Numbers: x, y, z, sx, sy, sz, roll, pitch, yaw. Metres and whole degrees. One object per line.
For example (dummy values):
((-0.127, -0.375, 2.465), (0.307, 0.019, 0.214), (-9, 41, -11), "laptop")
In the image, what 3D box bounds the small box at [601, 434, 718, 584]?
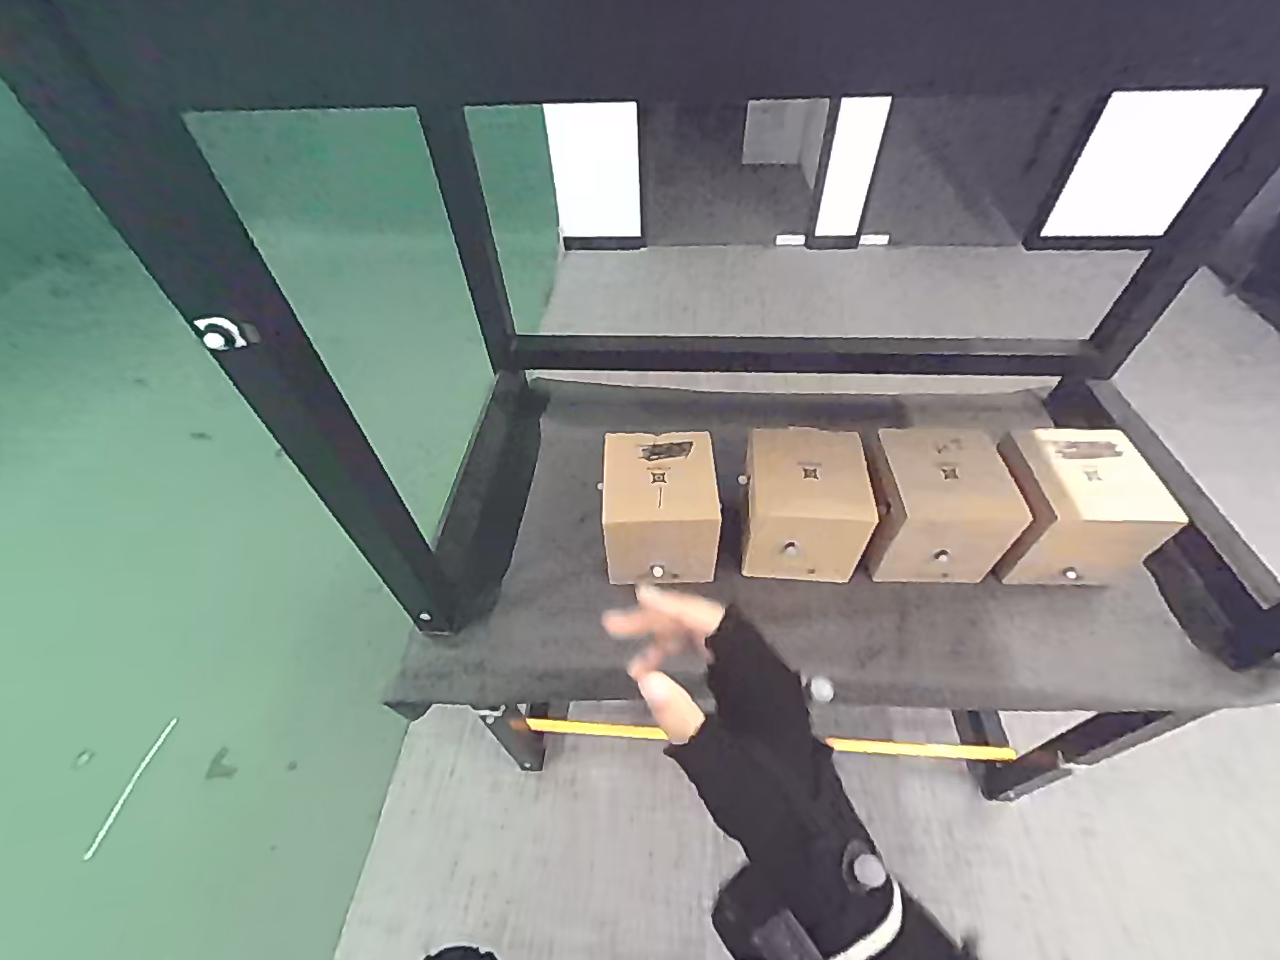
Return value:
((0.028, 0.047, 0.861), (0.168, 0.176, 0.179), (-2, 49, 1), "small box")
